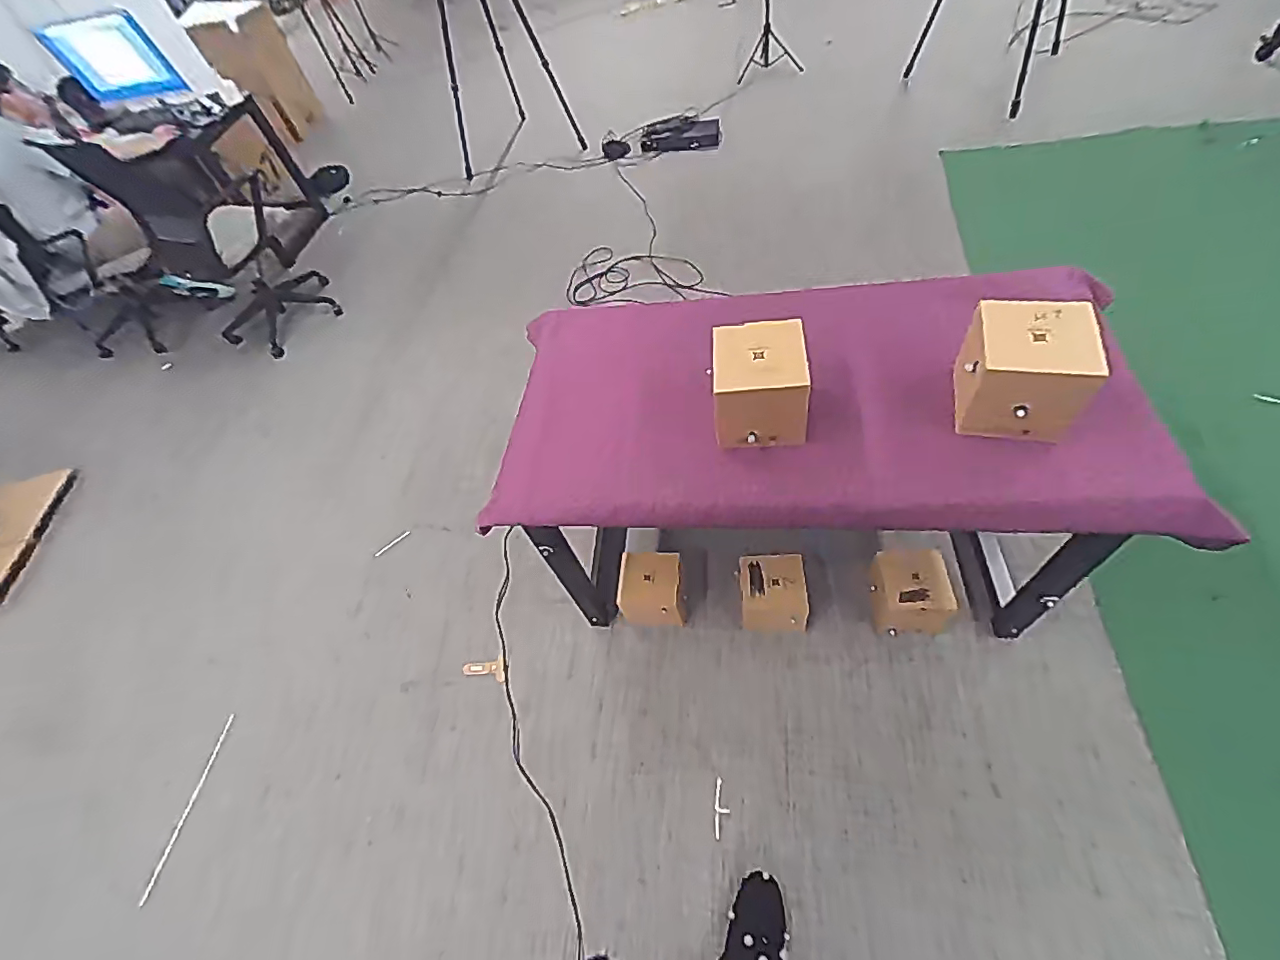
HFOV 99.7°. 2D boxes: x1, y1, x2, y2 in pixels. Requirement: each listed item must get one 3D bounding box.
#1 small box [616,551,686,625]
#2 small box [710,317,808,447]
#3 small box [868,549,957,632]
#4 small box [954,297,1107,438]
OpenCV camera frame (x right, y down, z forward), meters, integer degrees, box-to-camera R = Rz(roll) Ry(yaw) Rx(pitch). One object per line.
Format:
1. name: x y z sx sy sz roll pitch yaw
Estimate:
1. small box: 0.039 0.325 1.615 0.179 0.176 0.168 -1 55 12
2. small box: 0.223 -0.182 1.030 0.168 0.176 0.179 -2 55 12
3. small box: 0.732 0.305 1.472 0.168 0.176 0.179 -3 54 10
4. small box: 0.659 -0.192 0.936 0.168 0.176 0.179 8 58 18
